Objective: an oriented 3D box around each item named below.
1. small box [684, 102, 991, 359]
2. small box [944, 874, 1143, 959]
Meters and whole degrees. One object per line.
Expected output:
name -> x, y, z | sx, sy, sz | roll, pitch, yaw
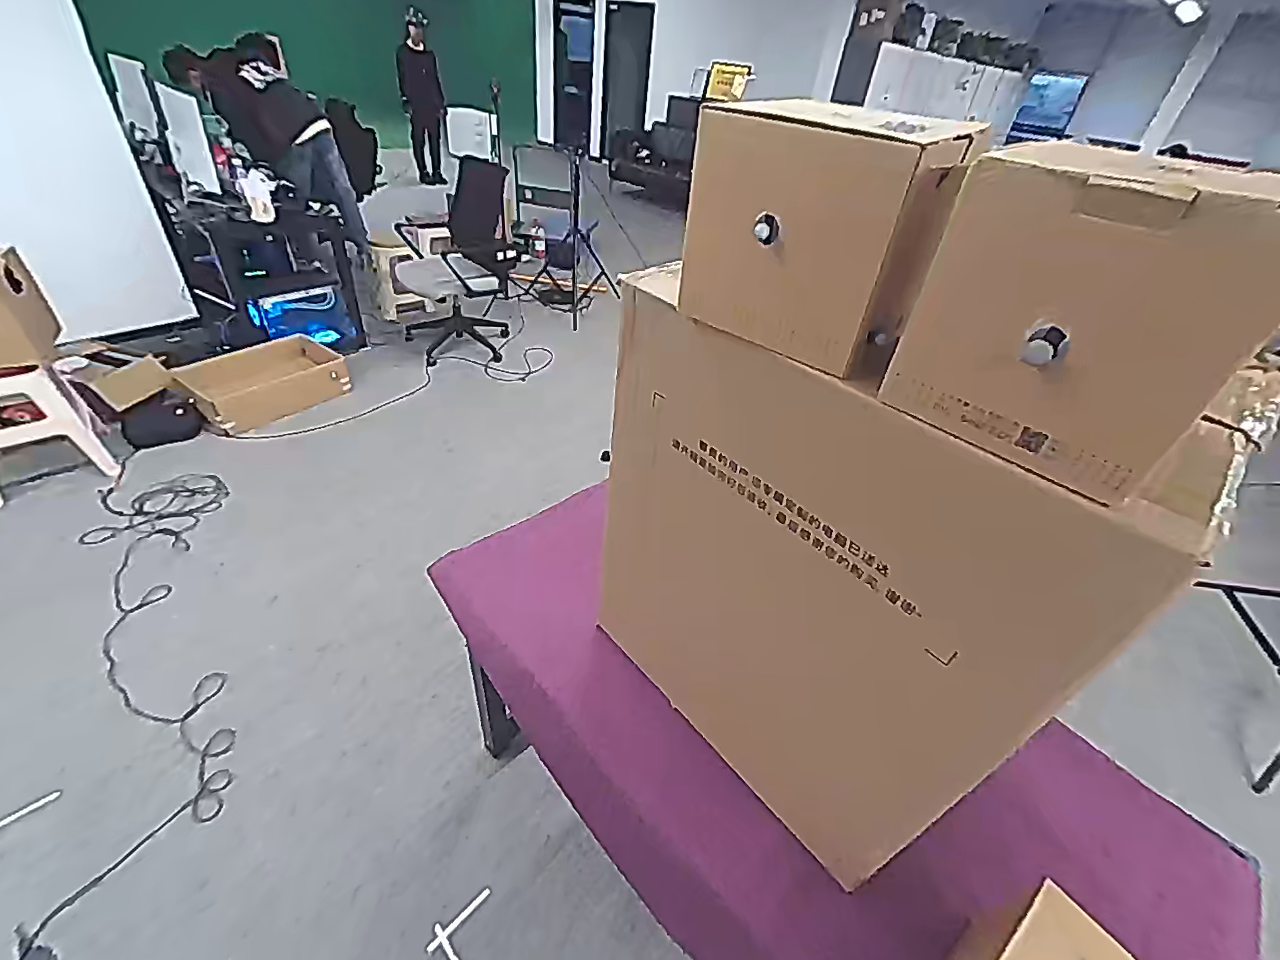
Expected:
small box -> 0.159, -0.221, 0.476 | 0.179, 0.176, 0.168 | 31, 45, 30
small box -> 0.412, 0.556, 0.540 | 0.179, 0.176, 0.168 | -22, 47, -32
